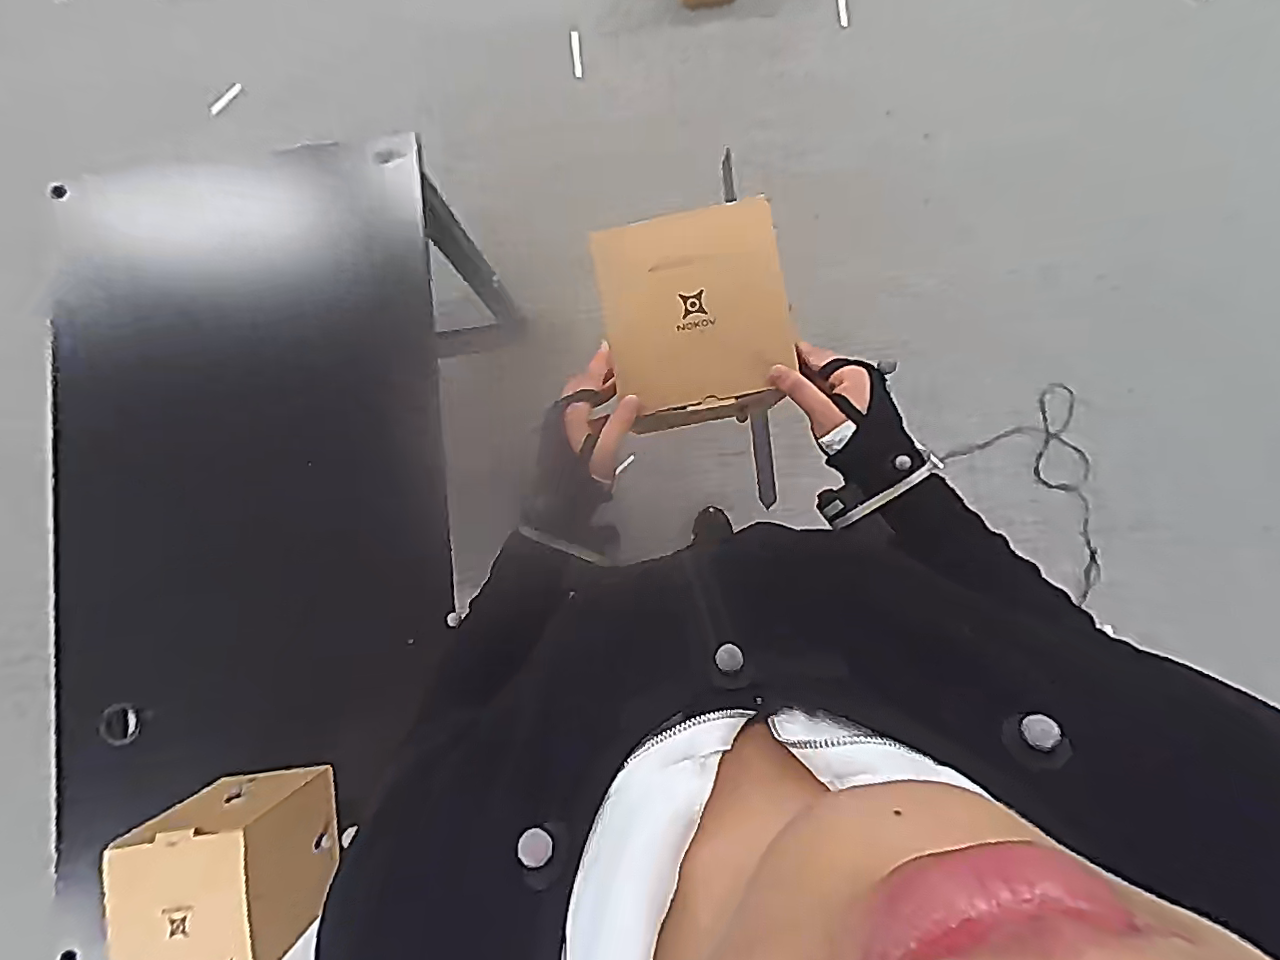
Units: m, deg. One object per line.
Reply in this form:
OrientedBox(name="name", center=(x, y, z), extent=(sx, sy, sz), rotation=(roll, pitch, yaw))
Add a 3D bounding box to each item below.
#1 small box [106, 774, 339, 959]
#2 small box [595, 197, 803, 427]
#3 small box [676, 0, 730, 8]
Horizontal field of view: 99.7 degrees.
OrientedBox(name="small box", center=(-0.511, 0.496, 0.683), extent=(0.168, 0.176, 0.179), rotation=(-8, 84, 2))
OrientedBox(name="small box", center=(0.057, -0.155, 0.567), extent=(0.168, 0.176, 0.179), rotation=(-11, 89, 3))
OrientedBox(name="small box", center=(0.184, -1.507, 1.551), extent=(0.179, 0.176, 0.168), rotation=(-6, 86, 1))
